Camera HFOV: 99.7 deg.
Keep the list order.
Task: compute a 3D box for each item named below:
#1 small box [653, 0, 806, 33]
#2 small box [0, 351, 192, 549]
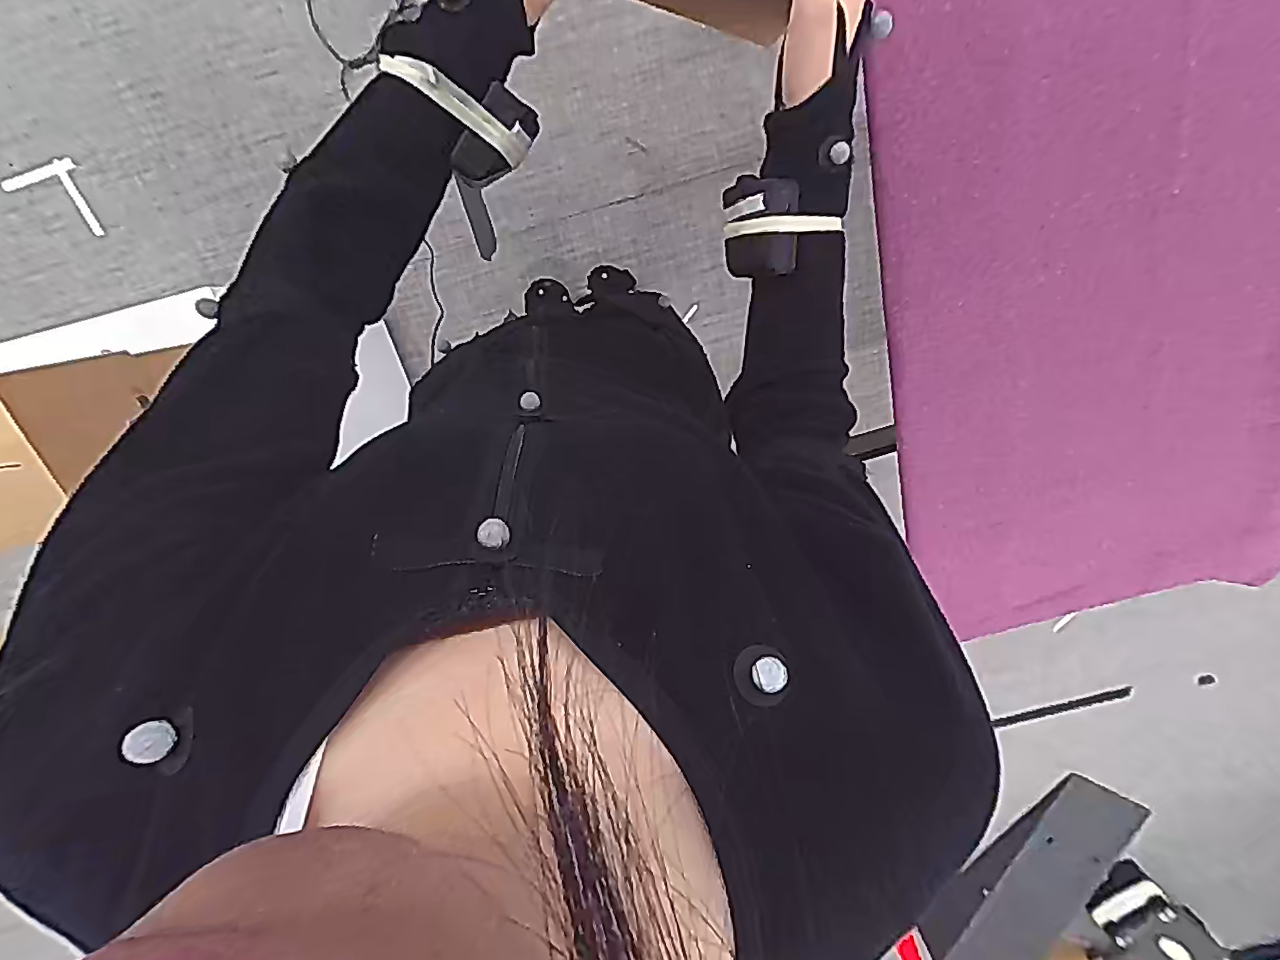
[{"bbox_3d":[0.056,-0.420,0.335,0.179,0.176,0.168,13,113,-8],"label":"small box"},{"bbox_3d":[-0.667,-0.035,0.597,0.179,0.176,0.168,-13,113,0],"label":"small box"}]
